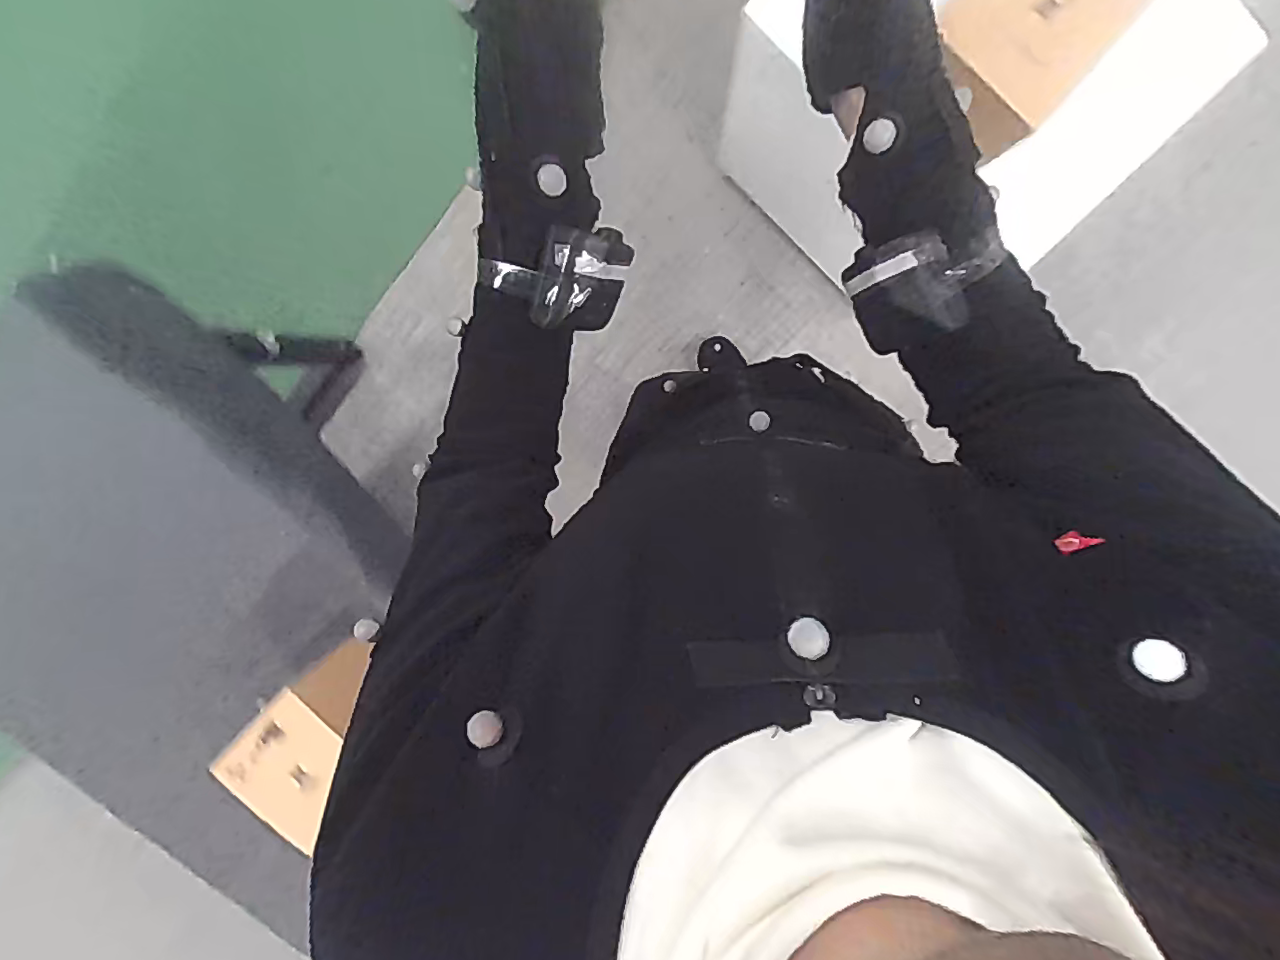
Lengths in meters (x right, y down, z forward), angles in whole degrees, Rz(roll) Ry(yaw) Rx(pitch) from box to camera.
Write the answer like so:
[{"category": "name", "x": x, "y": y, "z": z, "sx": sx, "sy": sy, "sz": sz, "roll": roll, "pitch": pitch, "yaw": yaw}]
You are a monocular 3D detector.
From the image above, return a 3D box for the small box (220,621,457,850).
[{"category": "small box", "x": -0.378, "y": 0.323, "z": 0.713, "sx": 0.179, "sy": 0.176, "sz": 0.168, "roll": 45, "pitch": 103, "yaw": -5}]

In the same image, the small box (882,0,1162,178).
[{"category": "small box", "x": 0.411, "y": -0.489, "z": 0.610, "sx": 0.168, "sy": 0.176, "sz": 0.179, "roll": 40, "pitch": 103, "yaw": -3}]
